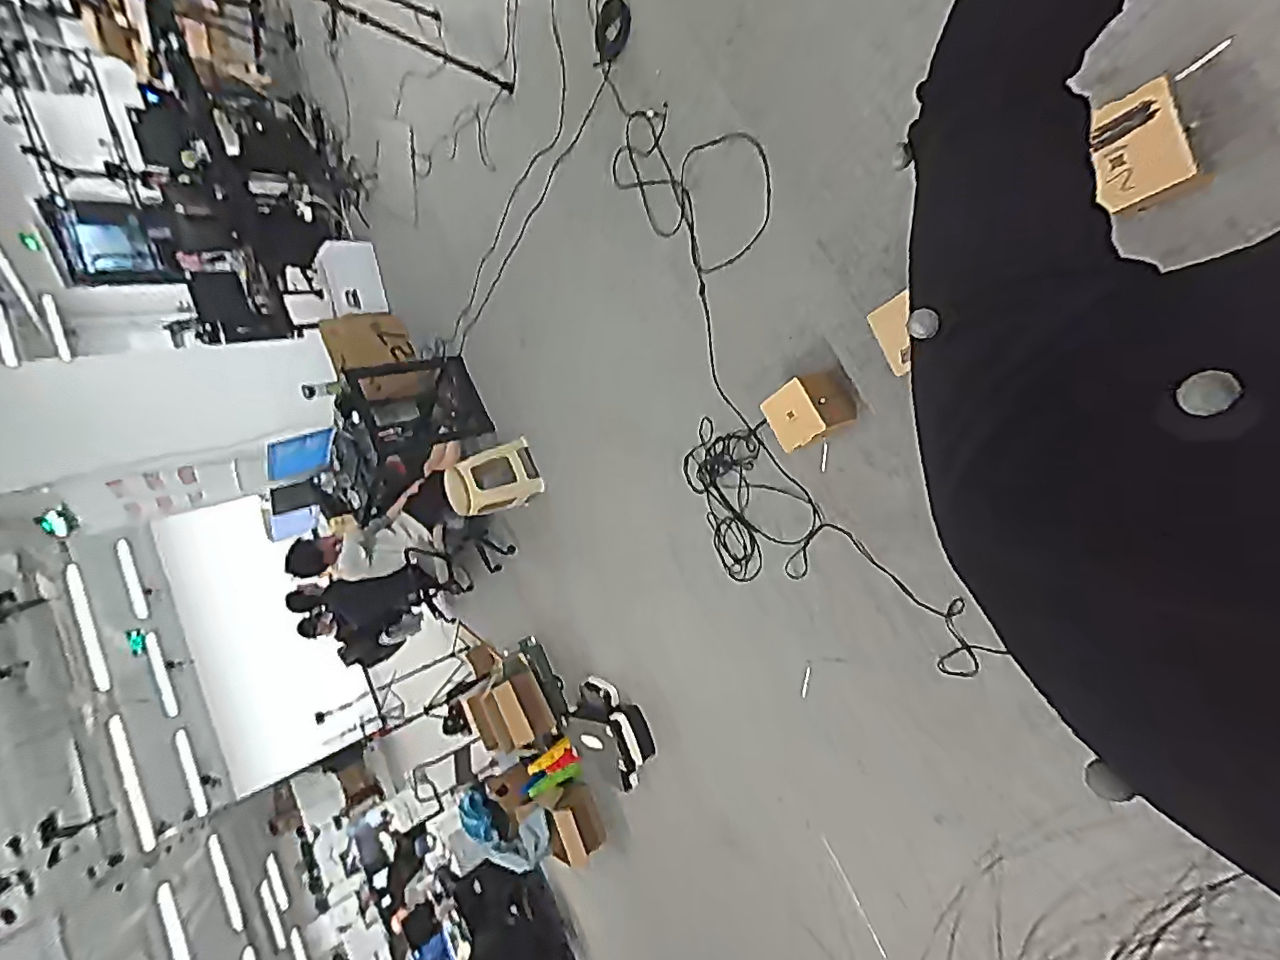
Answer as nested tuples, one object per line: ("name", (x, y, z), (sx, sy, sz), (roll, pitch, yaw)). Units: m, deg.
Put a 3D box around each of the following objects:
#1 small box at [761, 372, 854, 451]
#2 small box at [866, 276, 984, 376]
("small box", (0.507, -0.213, 1.634), (0.168, 0.176, 0.179), (-40, 74, 51))
("small box", (0.699, -0.380, 1.321), (0.168, 0.176, 0.179), (-32, 79, 52))
